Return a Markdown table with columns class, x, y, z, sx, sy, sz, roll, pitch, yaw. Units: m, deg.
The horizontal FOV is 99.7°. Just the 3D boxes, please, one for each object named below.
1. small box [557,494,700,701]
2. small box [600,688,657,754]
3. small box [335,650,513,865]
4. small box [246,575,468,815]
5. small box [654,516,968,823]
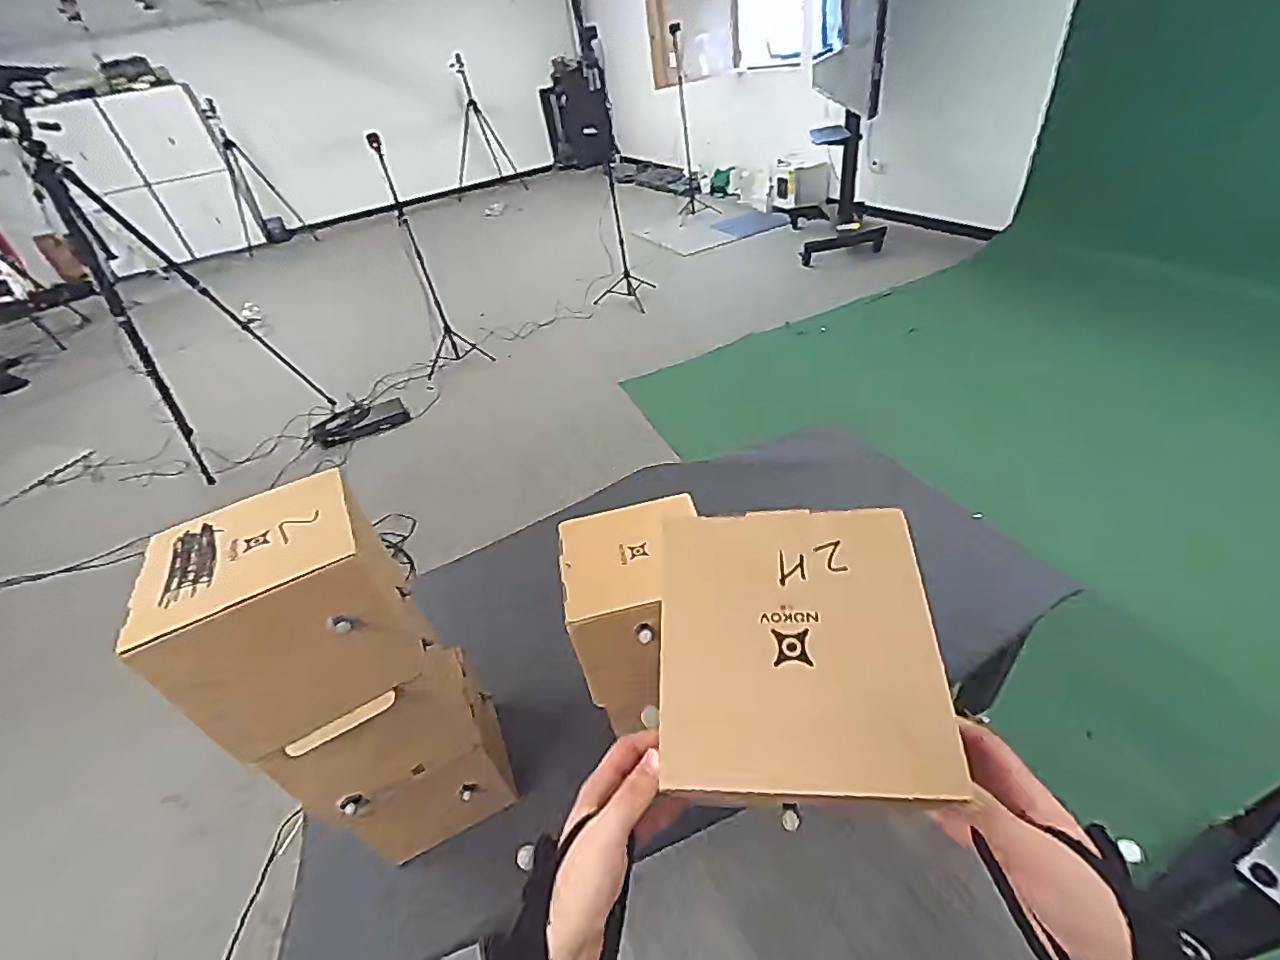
| class | x | y | z | sx | sy | sz | roll | pitch | yaw |
| --- | --- | --- | --- | --- | --- | --- | --- | --- | --- |
| small box | 0.003 | 0.148 | 0.681 | 0.179 | 0.176 | 0.168 | -14 | 38 | -2 |
| small box | 0.023 | 0.270 | 0.789 | 0.168 | 0.176 | 0.179 | -17 | 39 | -6 |
| small box | -0.288 | 0.376 | 0.740 | 0.179 | 0.176 | 0.168 | -24 | 39 | -14 |
| small box | -0.322 | 0.254 | 0.635 | 0.168 | 0.176 | 0.179 | -26 | 38 | -18 |
| small box | 0.107 | 0.145 | 0.397 | 0.168 | 0.176 | 0.179 | -4 | 56 | 10 |
